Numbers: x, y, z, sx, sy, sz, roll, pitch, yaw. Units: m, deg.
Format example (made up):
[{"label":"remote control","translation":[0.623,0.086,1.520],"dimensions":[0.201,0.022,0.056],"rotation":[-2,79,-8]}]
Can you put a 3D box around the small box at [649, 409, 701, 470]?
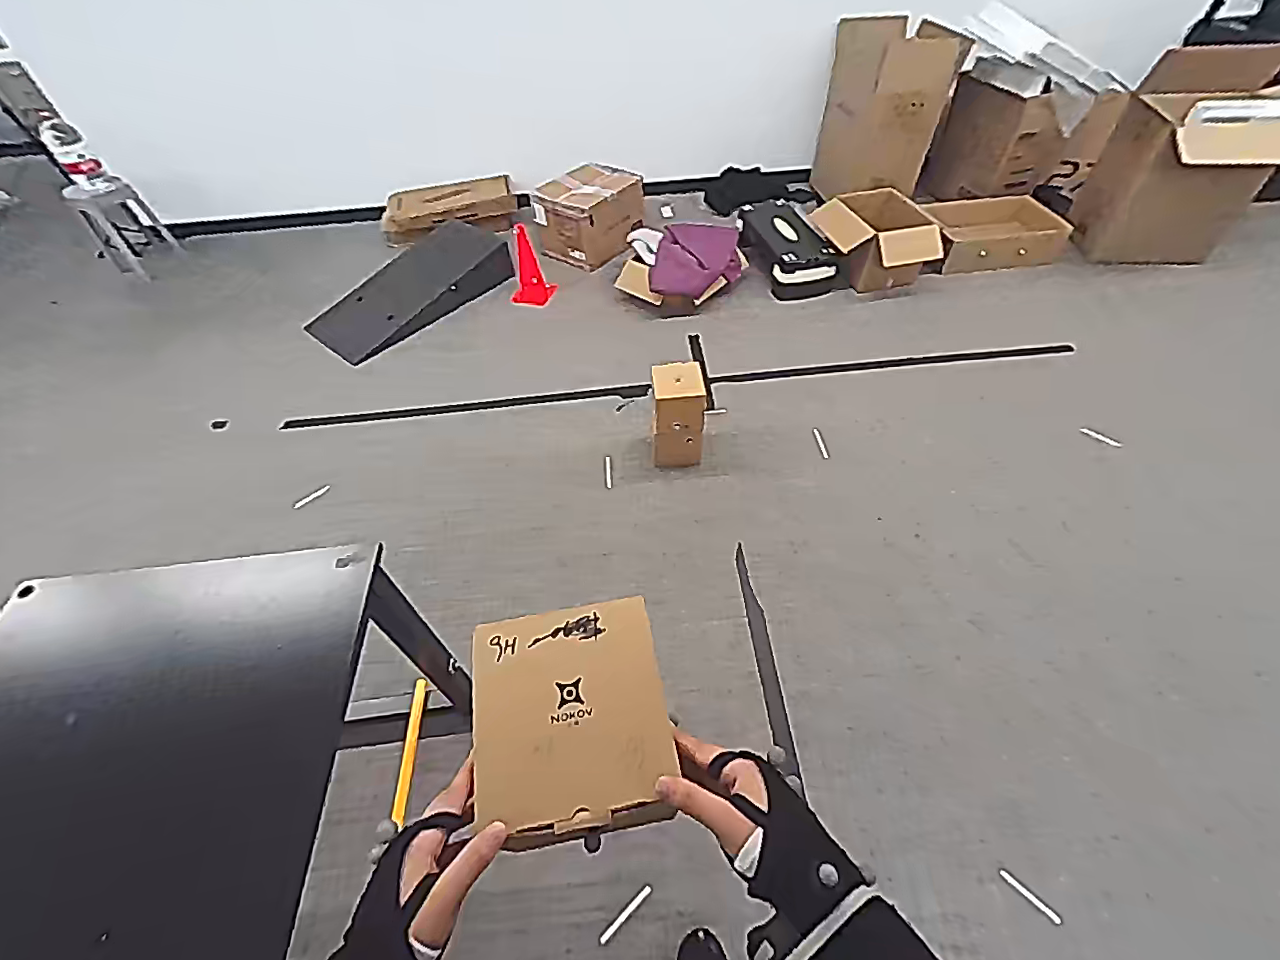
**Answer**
[{"label":"small box","translation":[0.125,-0.153,1.985],"dimensions":[0.179,0.176,0.168],"rotation":[-5,49,0]}]

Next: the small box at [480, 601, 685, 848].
[{"label":"small box","translation":[-0.054,0.246,0.537],"dimensions":[0.168,0.176,0.179],"rotation":[-10,55,-6]}]

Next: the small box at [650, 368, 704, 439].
[{"label":"small box","translation":[0.124,-0.263,1.865],"dimensions":[0.168,0.176,0.179],"rotation":[-6,50,0]}]
